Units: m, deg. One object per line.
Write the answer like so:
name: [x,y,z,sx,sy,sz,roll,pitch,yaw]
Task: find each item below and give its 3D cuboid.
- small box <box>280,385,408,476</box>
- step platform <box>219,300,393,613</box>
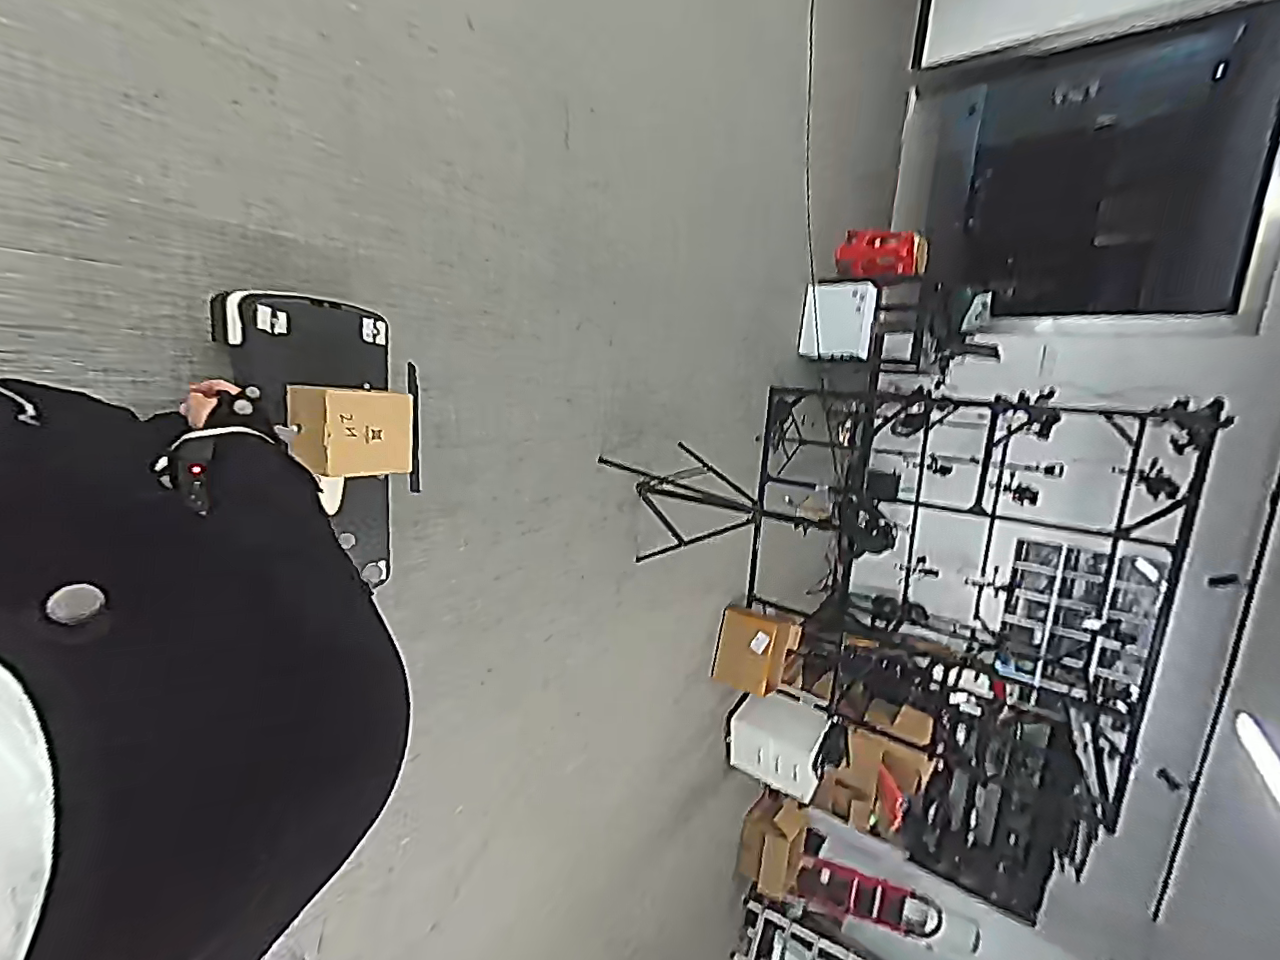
small box: [-0.606,-0.104,1.110,0.179,0.176,0.168,-6,103,-54]
step platform: [-0.743,-0.050,1.236,0.286,0.204,0.684,-10,106,-54]
